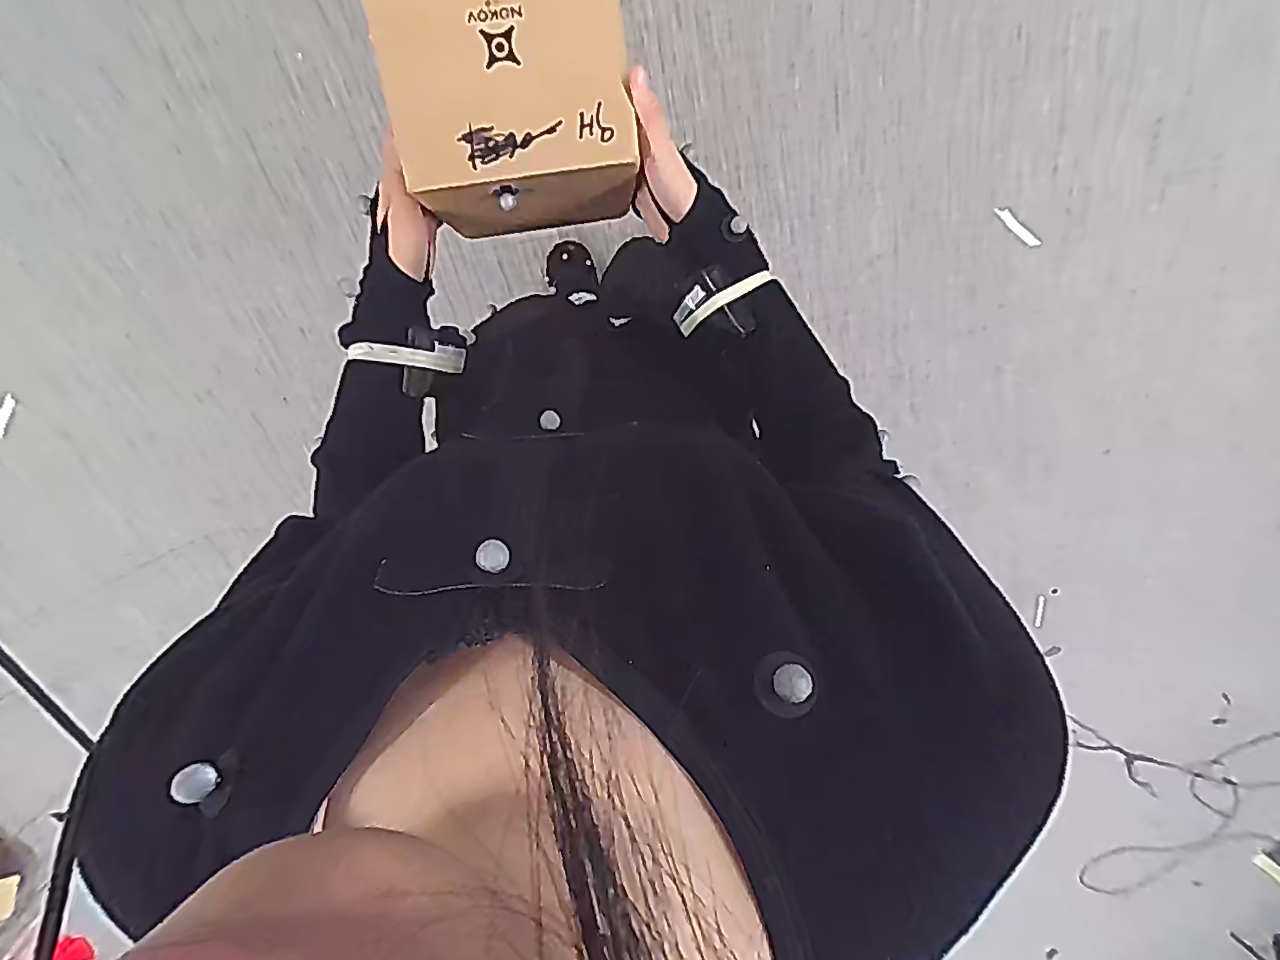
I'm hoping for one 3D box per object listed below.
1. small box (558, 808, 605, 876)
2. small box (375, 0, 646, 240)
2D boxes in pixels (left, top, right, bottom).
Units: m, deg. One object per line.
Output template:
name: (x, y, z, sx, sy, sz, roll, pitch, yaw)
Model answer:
small box: (-0.235, 1.444, 2.161, 0.179, 0.176, 0.168, 2, 115, -8)
small box: (-0.094, -0.311, 0.433, 0.168, 0.176, 0.179, -9, 104, -2)
